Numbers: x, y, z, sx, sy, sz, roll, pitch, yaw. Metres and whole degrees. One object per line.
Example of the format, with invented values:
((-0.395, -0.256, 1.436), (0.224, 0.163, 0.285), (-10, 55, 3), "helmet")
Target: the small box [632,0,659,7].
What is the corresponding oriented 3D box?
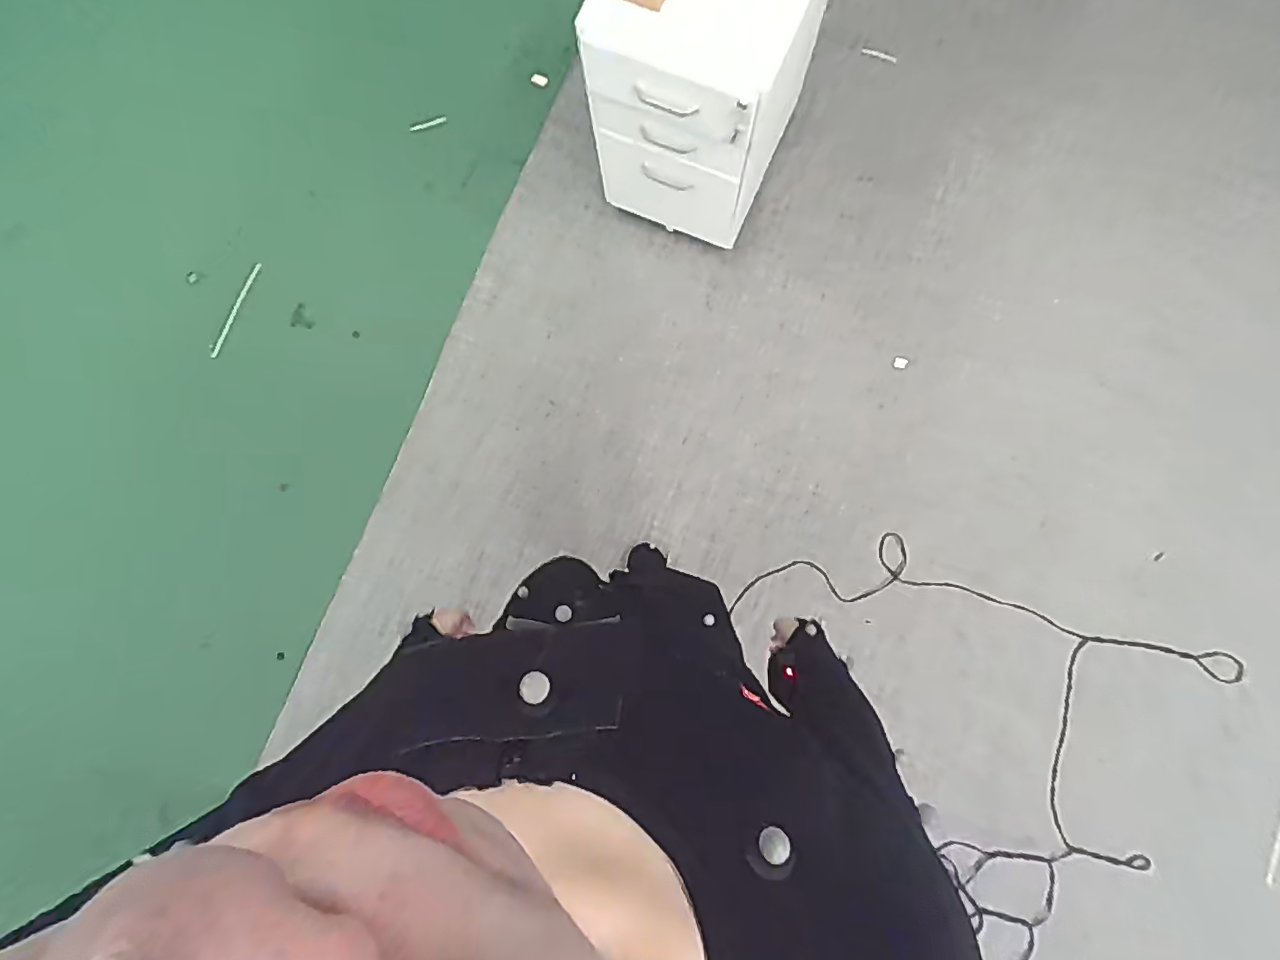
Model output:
((-0.011, -0.998, 0.949), (0.168, 0.176, 0.179), (24, 85, 3), "small box")
